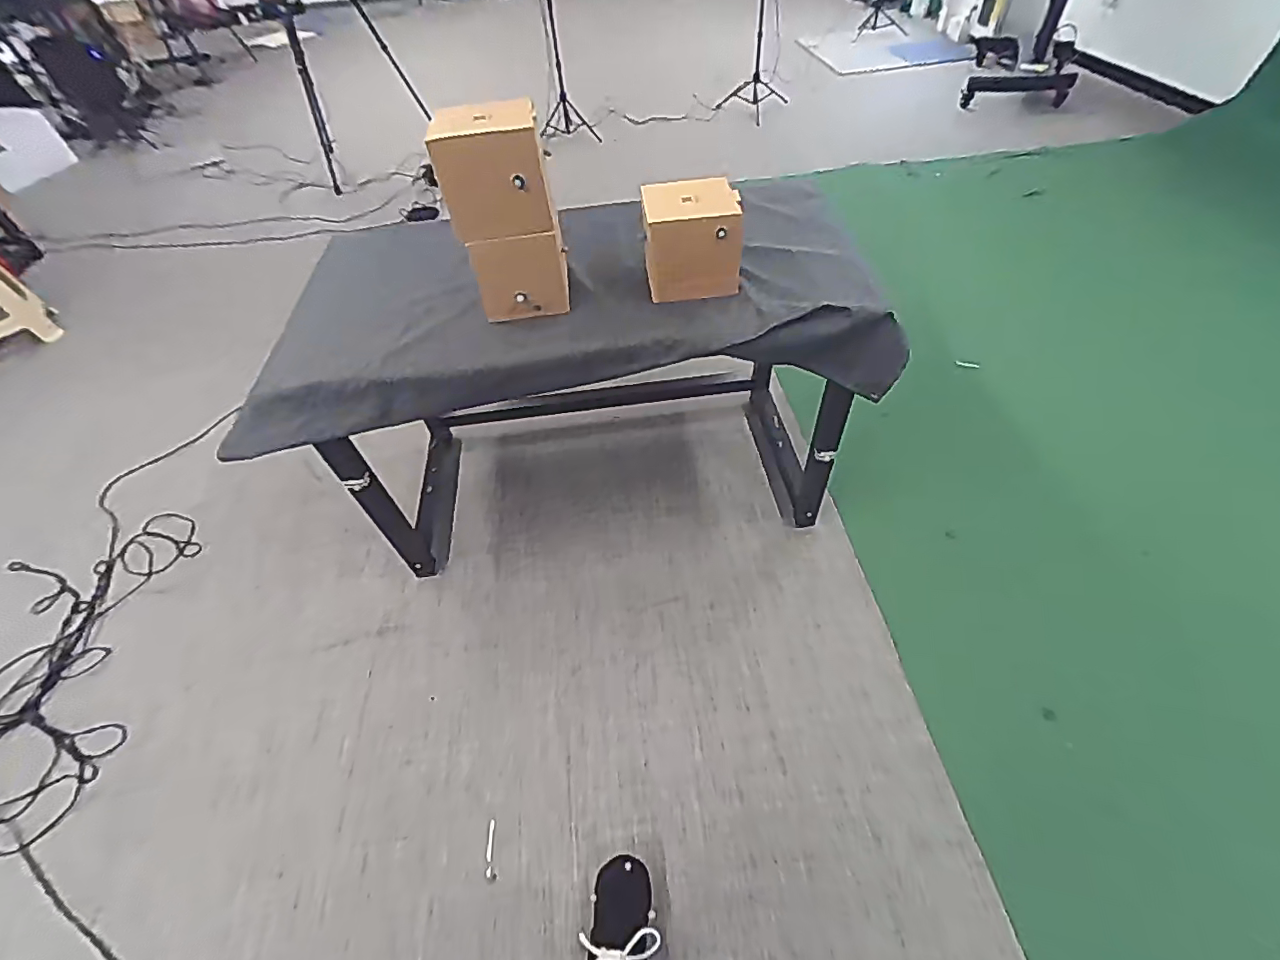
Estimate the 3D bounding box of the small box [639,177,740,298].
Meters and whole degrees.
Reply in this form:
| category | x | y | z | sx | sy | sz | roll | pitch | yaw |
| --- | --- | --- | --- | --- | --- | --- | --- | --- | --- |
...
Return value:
| category | x | y | z | sx | sy | sz | roll | pitch | yaw |
| --- | --- | --- | --- | --- | --- | --- | --- | --- | --- |
| small box | 0.096 | -0.485 | 1.091 | 0.179 | 0.176 | 0.168 | -6 | 50 | -1 |

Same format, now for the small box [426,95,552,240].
| category | x | y | z | sx | sy | sz | roll | pitch | yaw |
| --- | --- | --- | --- | --- | --- | --- | --- | --- | --- |
| small box | -0.256 | -0.553 | 0.962 | 0.179 | 0.176 | 0.168 | -9 | 50 | -1 |

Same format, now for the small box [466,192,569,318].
| category | x | y | z | sx | sy | sz | roll | pitch | yaw |
| --- | --- | --- | --- | --- | --- | --- | --- | --- | --- |
| small box | -0.239 | -0.452 | 1.089 | 0.168 | 0.176 | 0.179 | -8 | 51 | -1 |
